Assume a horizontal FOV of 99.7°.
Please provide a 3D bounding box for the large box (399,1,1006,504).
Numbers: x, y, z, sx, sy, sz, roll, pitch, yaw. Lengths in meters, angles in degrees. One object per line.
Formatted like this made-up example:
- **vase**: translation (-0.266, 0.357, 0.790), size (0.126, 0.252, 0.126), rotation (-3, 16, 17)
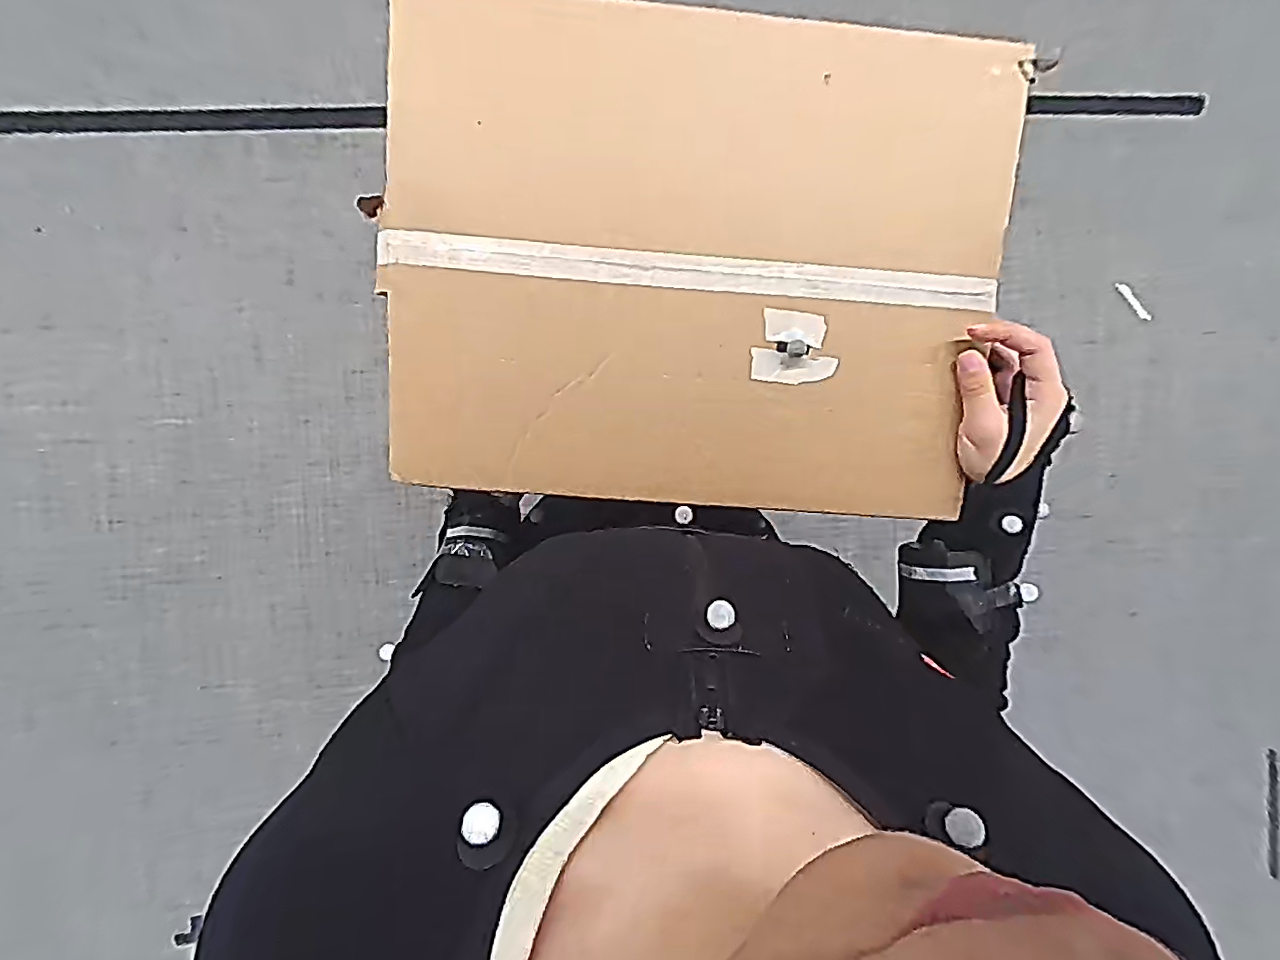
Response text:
- **large box**: translation (0.031, -0.162, 0.515), size (0.408, 0.320, 0.320), rotation (3, 99, -4)
